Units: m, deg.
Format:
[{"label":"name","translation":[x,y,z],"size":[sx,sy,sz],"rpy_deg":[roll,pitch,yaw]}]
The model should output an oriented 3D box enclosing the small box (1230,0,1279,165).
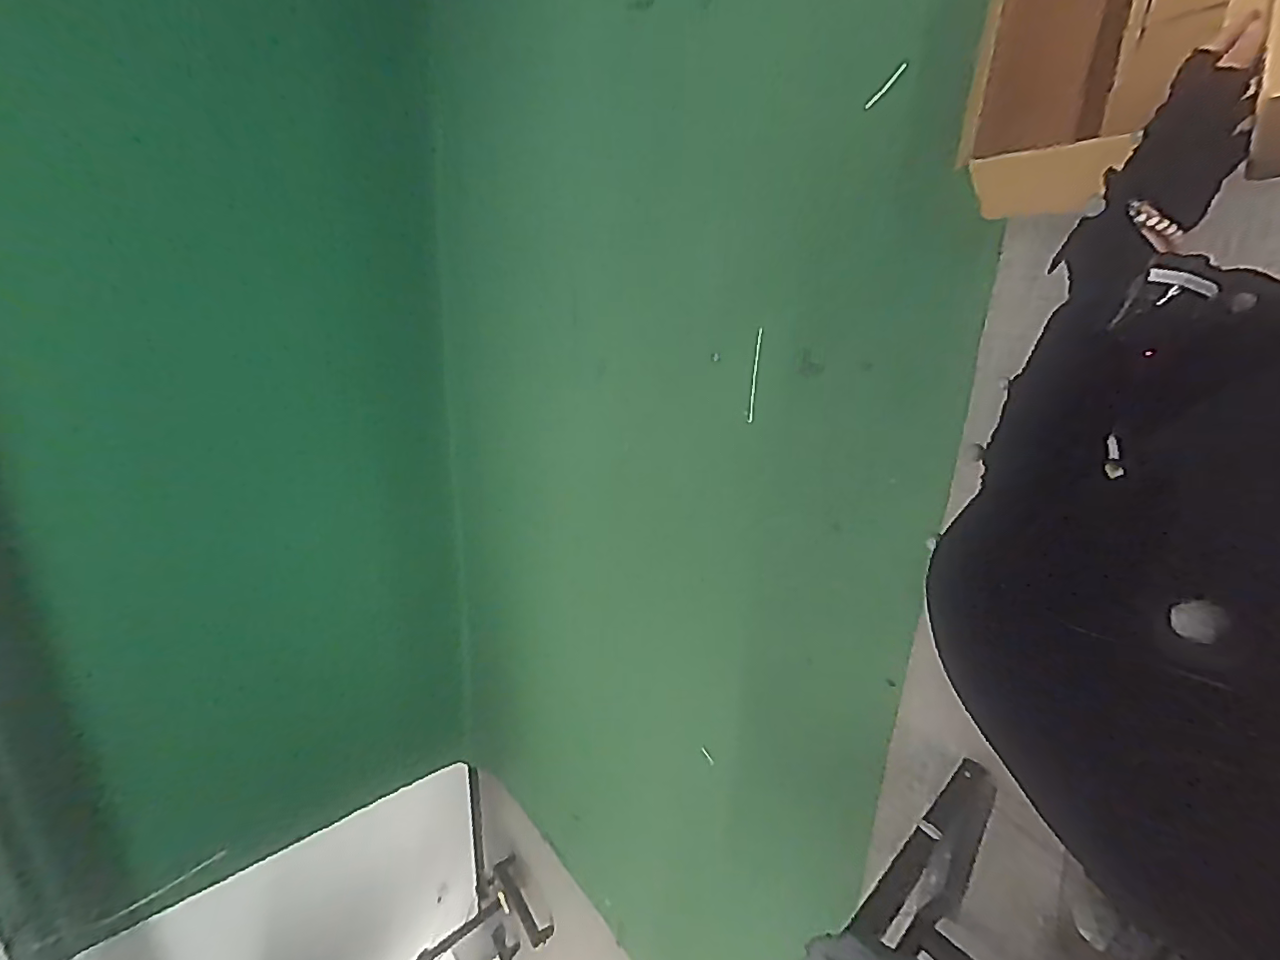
[{"label":"small box","translation":[0.484,-0.313,0.310],"size":[0.179,0.176,0.168],"rpy_deg":[8,101,44]}]
